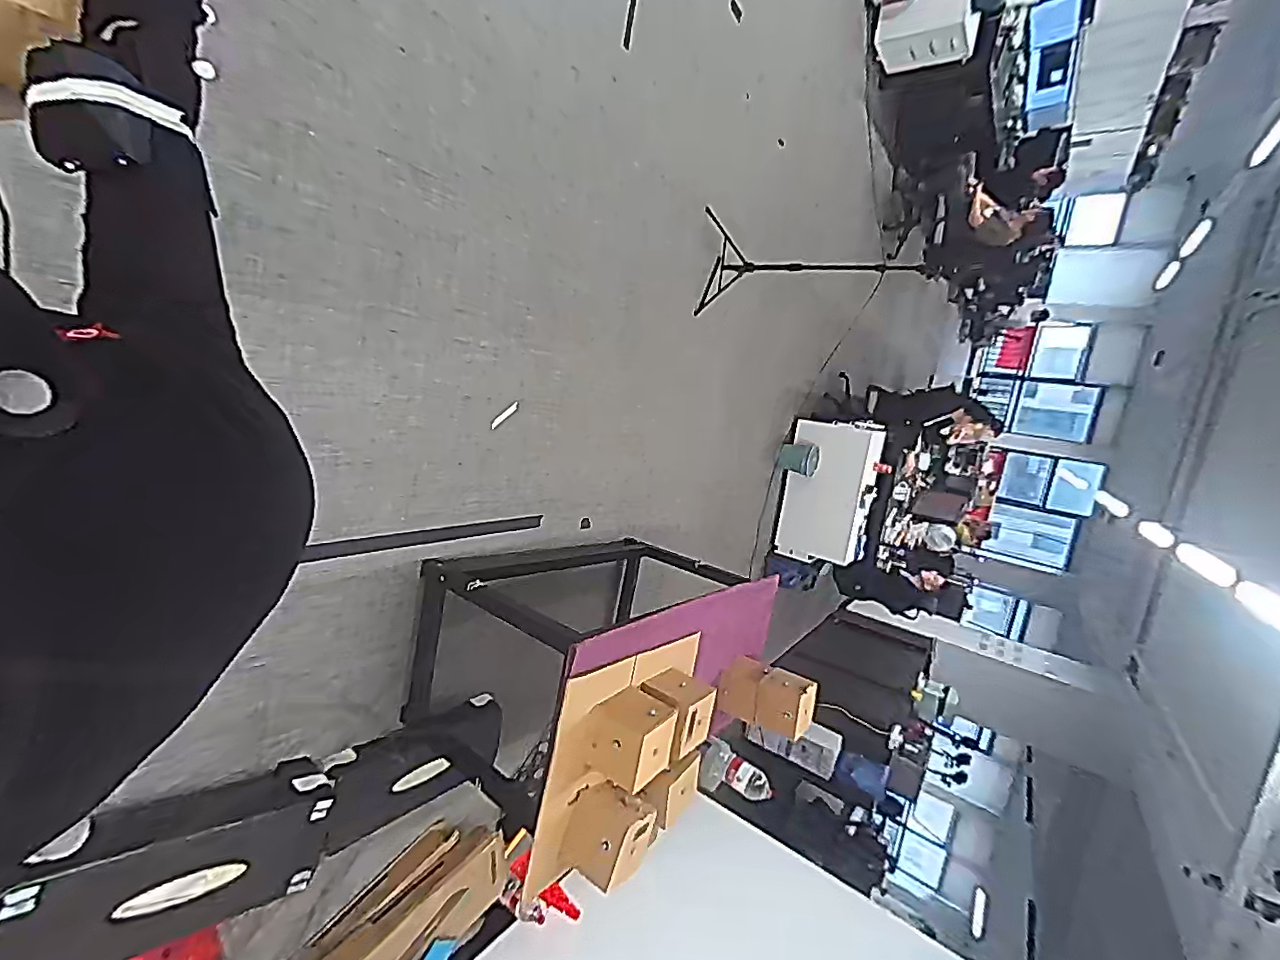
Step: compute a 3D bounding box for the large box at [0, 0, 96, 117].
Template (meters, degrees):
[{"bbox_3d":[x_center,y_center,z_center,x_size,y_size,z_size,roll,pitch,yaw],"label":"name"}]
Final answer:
[{"bbox_3d":[-0.608,-0.441,0.273,0.408,0.320,0.320,-11,119,-58],"label":"large box"}]
